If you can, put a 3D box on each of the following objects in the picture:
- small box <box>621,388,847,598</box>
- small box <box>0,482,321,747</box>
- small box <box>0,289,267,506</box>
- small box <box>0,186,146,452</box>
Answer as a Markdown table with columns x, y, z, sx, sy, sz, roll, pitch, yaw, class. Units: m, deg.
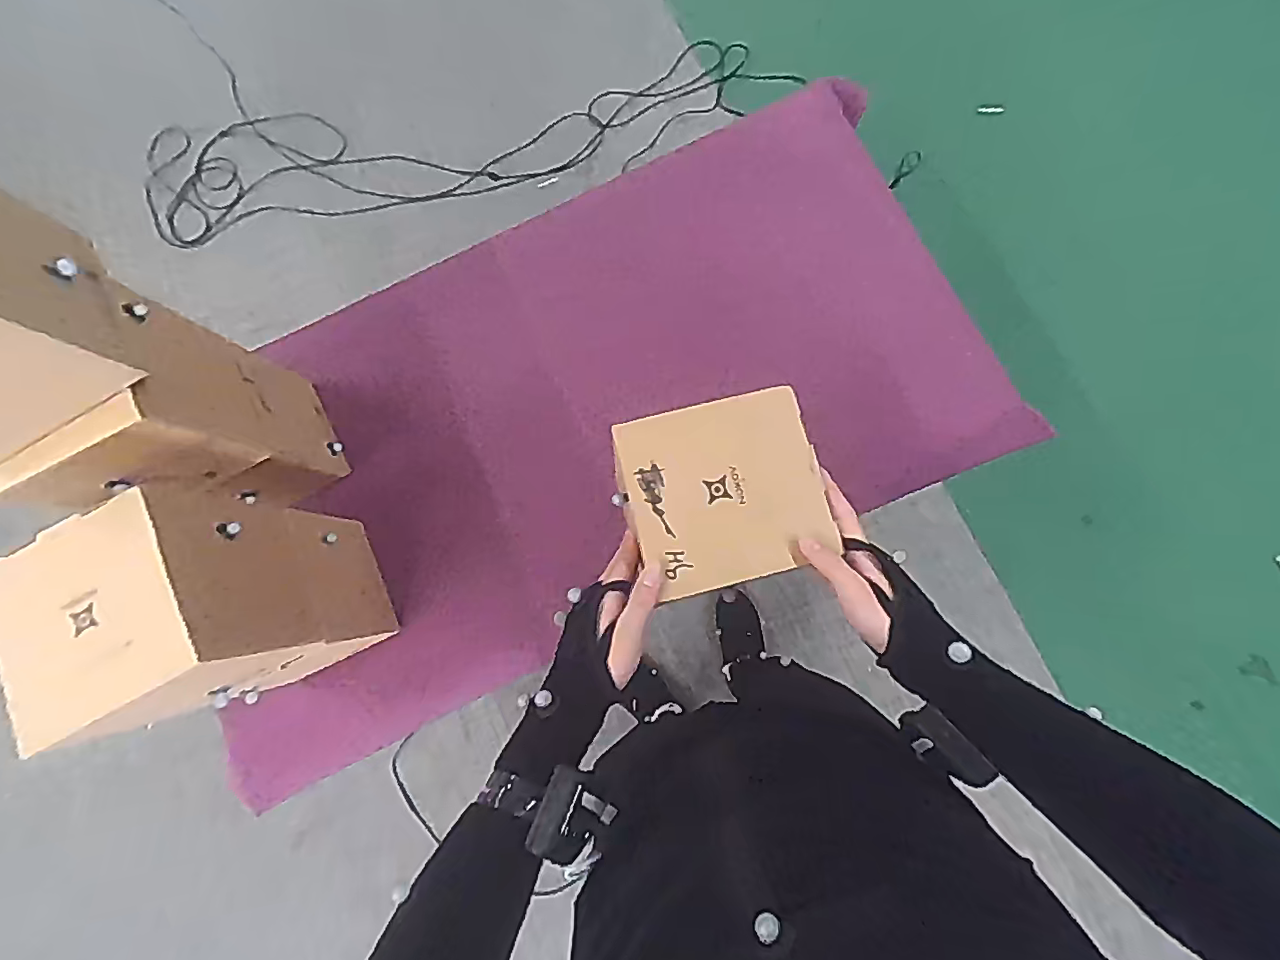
| x | y | z | sx | sy | sz | roll | pitch | yaw | class |
| --- | --- | --- | --- | --- | --- | --- | --- | --- | --- |
| 0.080 | 0.024 | 0.564 | 0.179 | 0.176 | 0.168 | -12 | 77 | -5 | small box |
| -0.468 | 0.126 | 0.542 | 0.168 | 0.176 | 0.179 | -28 | 80 | -1 | small box |
| -0.553 | -0.081 | 0.584 | 0.168 | 0.176 | 0.179 | -28 | 80 | -1 | small box |
| -0.565 | -0.136 | 0.427 | 0.179 | 0.176 | 0.168 | -31 | 80 | -2 | small box |
